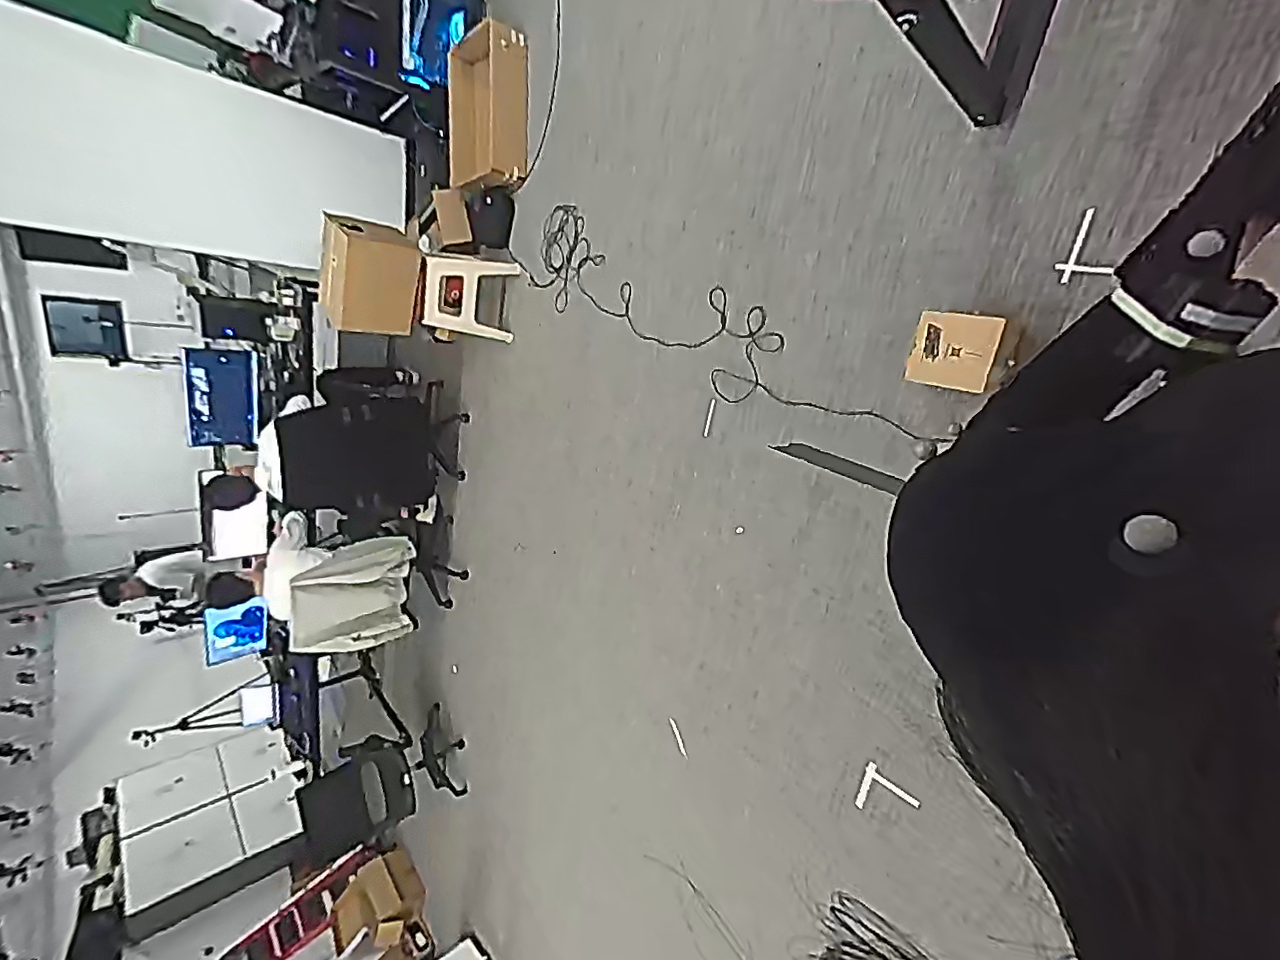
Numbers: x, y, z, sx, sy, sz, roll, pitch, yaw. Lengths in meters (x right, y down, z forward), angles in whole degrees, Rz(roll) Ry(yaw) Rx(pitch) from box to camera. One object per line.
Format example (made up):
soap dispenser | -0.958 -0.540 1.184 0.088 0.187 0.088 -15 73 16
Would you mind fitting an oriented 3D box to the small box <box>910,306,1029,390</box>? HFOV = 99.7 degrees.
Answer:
small box | 0.771 -0.306 1.267 0.179 0.176 0.168 23 113 41
